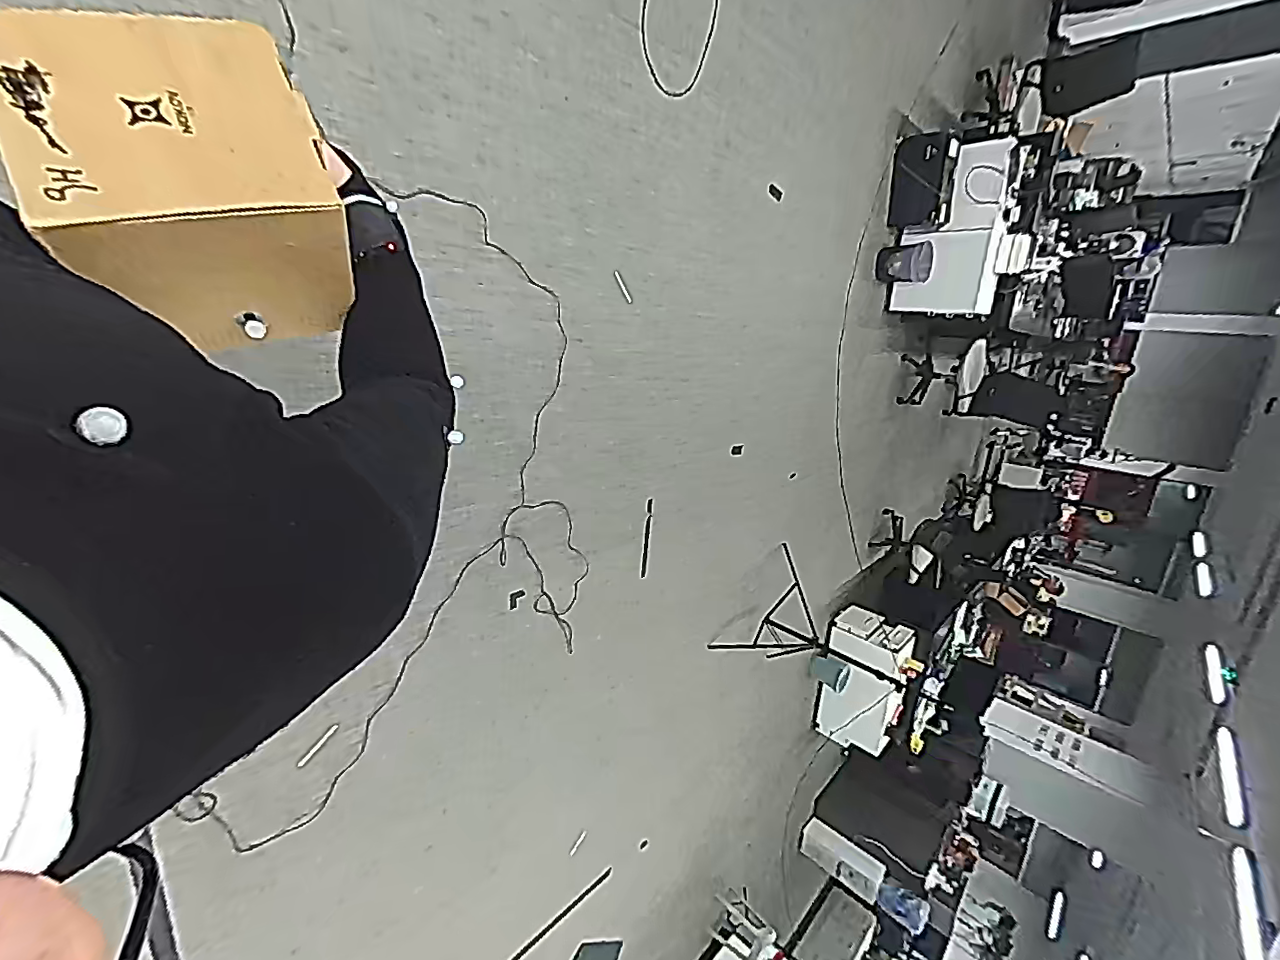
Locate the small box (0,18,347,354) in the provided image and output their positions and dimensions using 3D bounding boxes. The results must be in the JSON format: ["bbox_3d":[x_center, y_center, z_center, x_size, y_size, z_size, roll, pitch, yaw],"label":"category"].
[{"bbox_3d":[-0.363,-0.229,0.454,0.179,0.176,0.168,-21,82,-28],"label":"small box"}]
